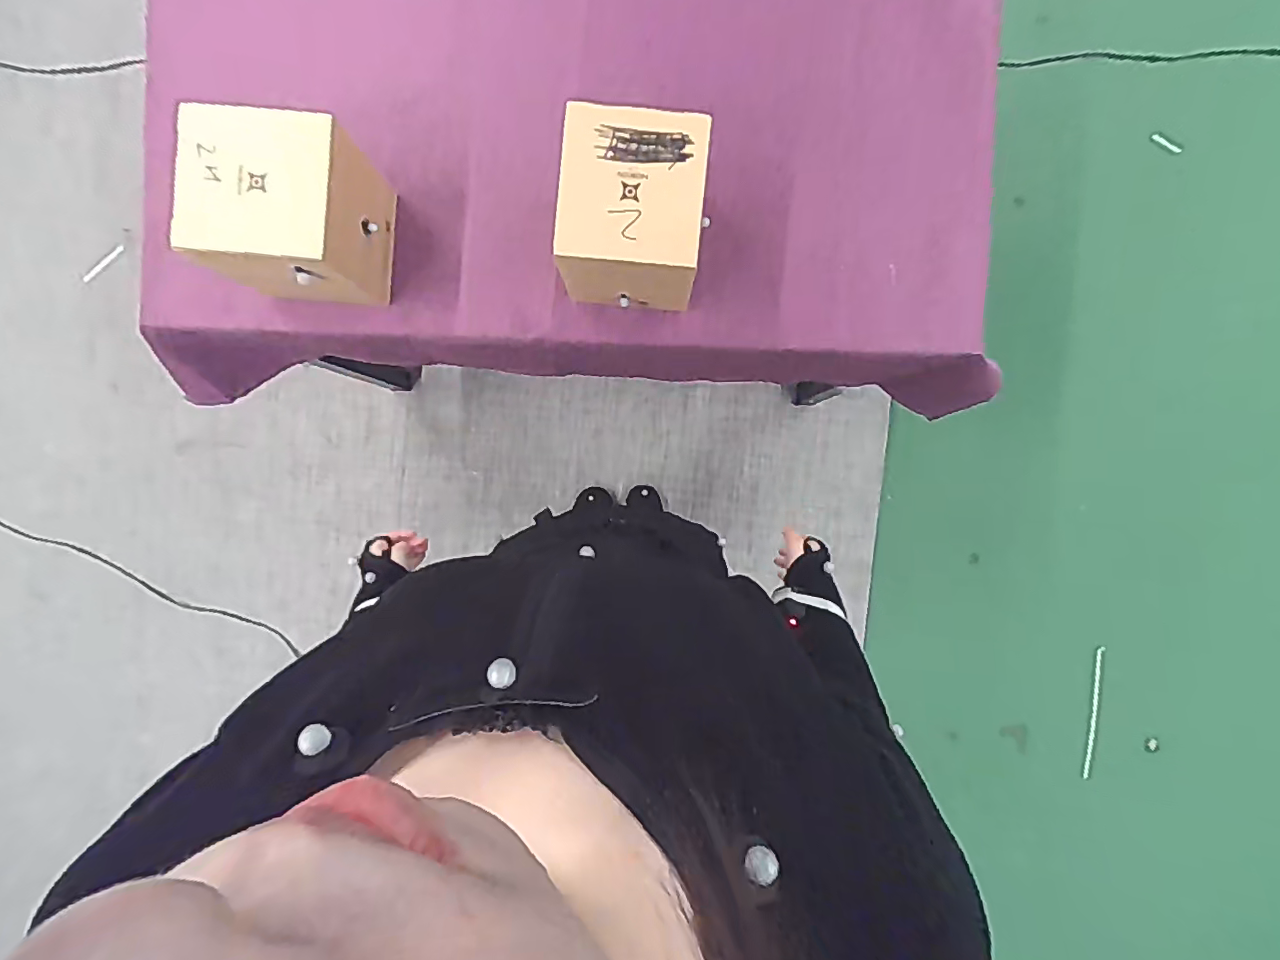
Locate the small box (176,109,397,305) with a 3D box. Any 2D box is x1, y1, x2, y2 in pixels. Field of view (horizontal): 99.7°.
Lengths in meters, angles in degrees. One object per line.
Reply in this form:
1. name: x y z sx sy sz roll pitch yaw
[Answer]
1. small box: -0.437 -0.335 0.697 0.179 0.176 0.168 5 90 0
